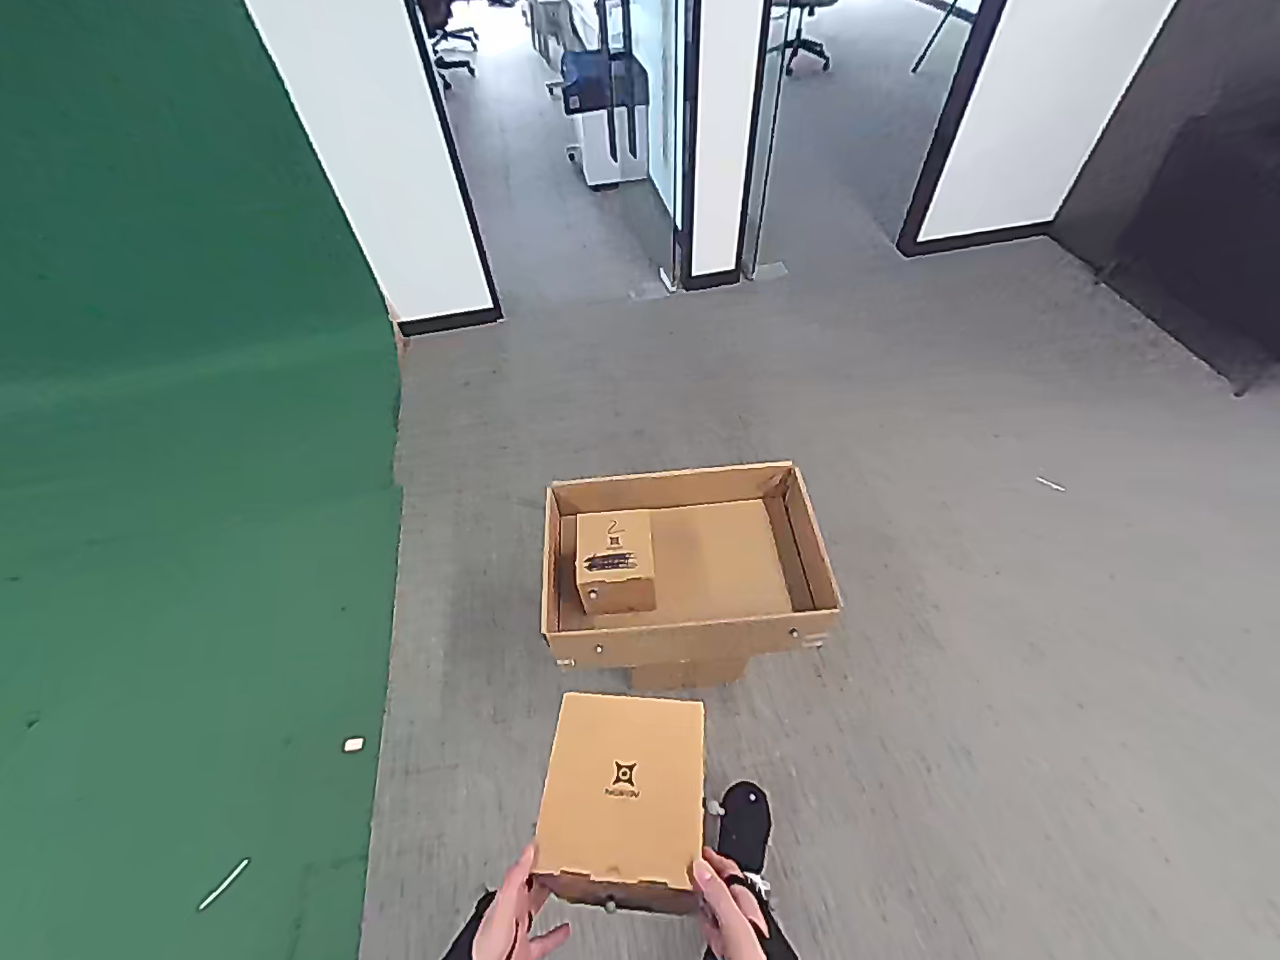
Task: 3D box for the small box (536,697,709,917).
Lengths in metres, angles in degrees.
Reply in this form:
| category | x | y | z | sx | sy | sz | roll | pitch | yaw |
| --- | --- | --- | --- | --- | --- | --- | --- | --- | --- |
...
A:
| category | x | y | z | sx | sy | sz | roll | pitch | yaw |
| --- | --- | --- | --- | --- | --- | --- | --- | --- | --- |
| small box | -0.008 | 0.375 | 0.622 | 0.168 | 0.176 | 0.179 | 2 | 47 | 6 |
